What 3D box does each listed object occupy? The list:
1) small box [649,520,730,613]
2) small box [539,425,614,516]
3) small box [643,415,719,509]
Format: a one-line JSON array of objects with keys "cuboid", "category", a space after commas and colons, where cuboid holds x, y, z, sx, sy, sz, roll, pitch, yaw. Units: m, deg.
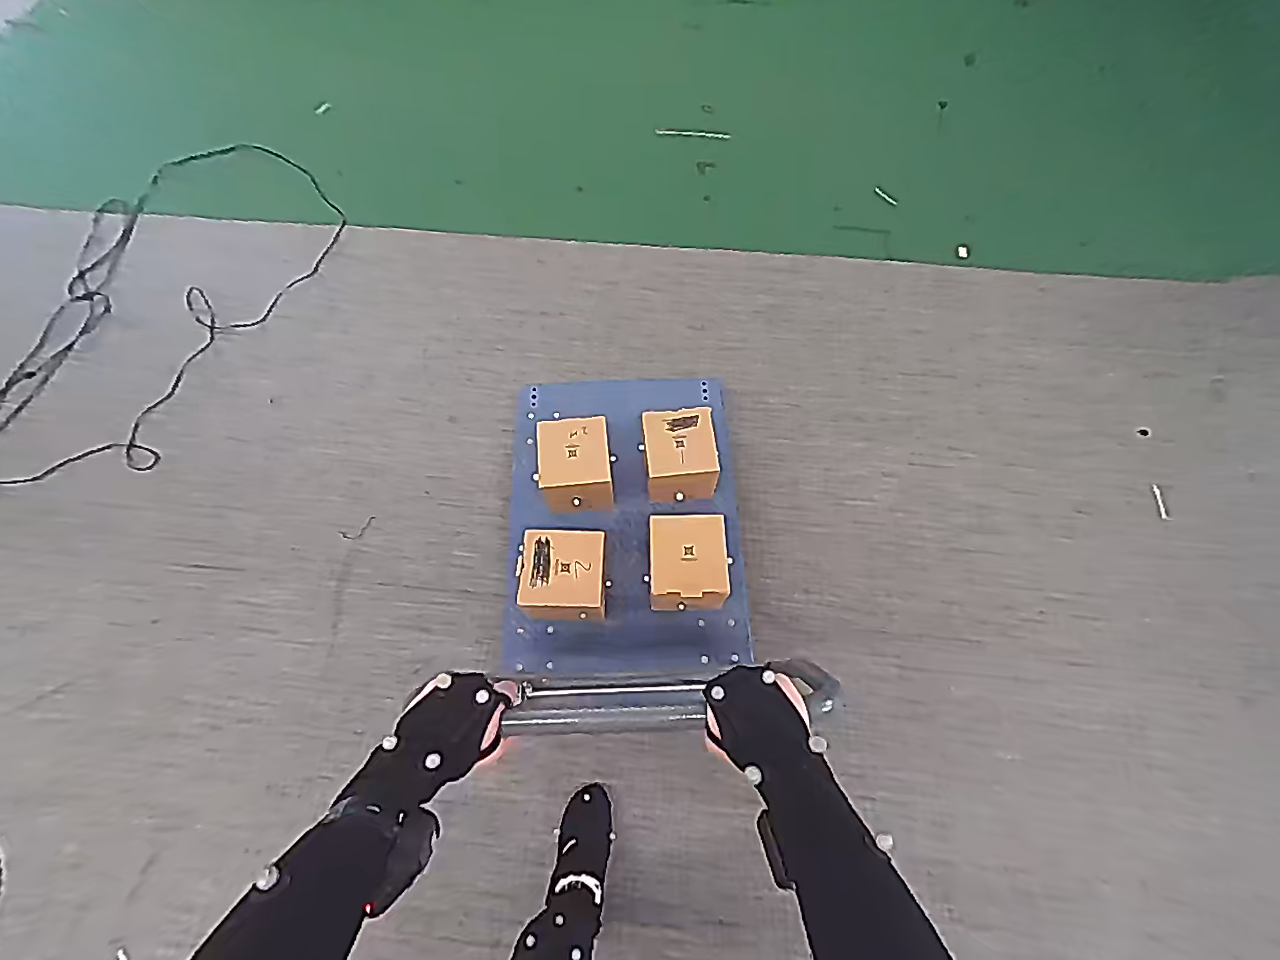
[{"cuboid": [0.107, 0.203, 1.249, 0.168, 0.176, 0.179, -1, 66, 0], "category": "small box"}, {"cuboid": [-0.155, -0.017, 1.350, 0.168, 0.176, 0.179, -5, 66, -3], "category": "small box"}, {"cuboid": [0.096, -0.043, 1.360, 0.168, 0.176, 0.179, -6, 66, -1], "category": "small box"}]
